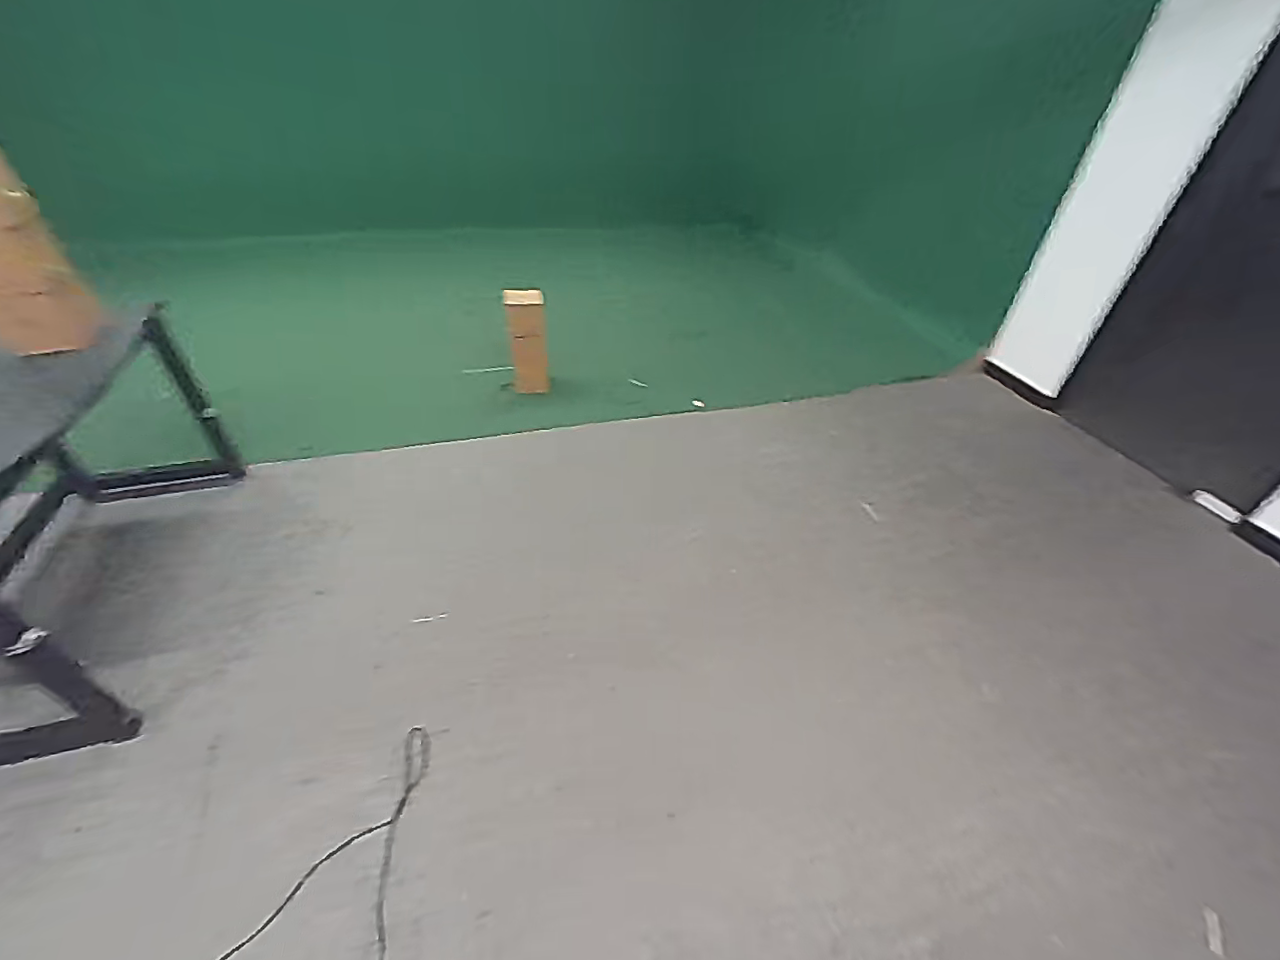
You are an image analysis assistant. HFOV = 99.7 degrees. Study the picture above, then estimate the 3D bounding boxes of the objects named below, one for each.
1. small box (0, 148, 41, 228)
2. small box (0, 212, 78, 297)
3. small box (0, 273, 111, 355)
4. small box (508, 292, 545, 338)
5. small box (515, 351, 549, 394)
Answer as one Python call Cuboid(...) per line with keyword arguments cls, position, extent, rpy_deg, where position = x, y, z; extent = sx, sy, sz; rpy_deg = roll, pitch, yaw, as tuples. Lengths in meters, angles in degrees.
Cuboid(cls="small box", position=(-1.678, -0.728, 1.341), extent=(0.179, 0.176, 0.168), rpy_deg=(-15, 45, -17))
Cuboid(cls="small box", position=(-1.689, -0.600, 1.446), extent=(0.179, 0.176, 0.168), rpy_deg=(-12, 44, -16))
Cuboid(cls="small box", position=(-1.695, -0.478, 1.553), extent=(0.179, 0.176, 0.168), rpy_deg=(-11, 43, -11))
Cuboid(cls="small box", position=(-0.561, -0.815, 2.665), extent=(0.168, 0.176, 0.179), rpy_deg=(-5, 40, -12))
Cuboid(cls="small box", position=(-0.573, -0.571, 2.885), extent=(0.168, 0.176, 0.179), rpy_deg=(-3, 40, -8))
